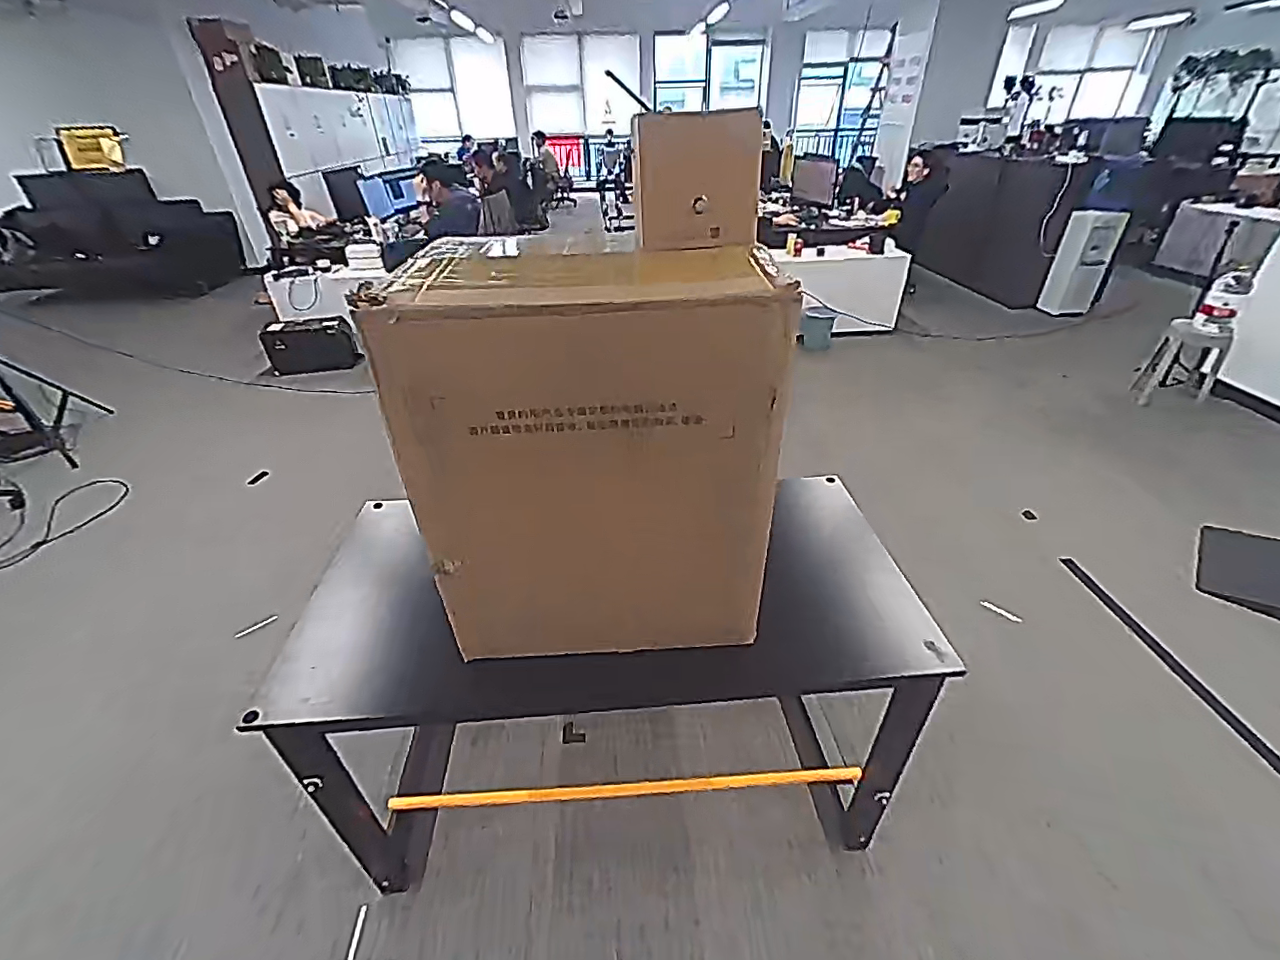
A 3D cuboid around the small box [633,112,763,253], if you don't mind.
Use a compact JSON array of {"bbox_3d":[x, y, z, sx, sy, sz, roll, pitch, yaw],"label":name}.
[{"bbox_3d":[0.077,-0.442,0.810,0.168,0.176,0.179,-5,32,-2],"label":"small box"}]
